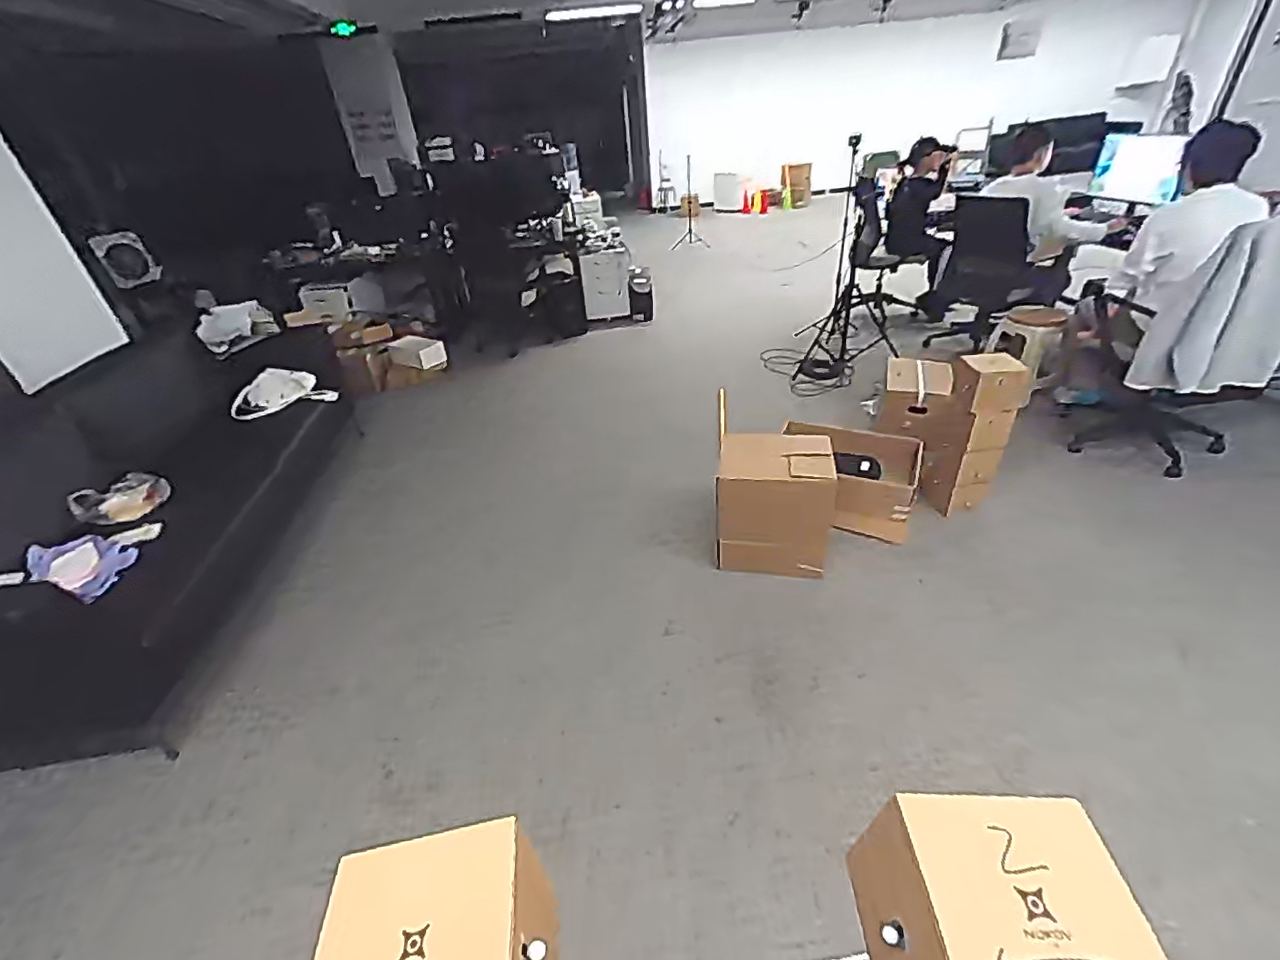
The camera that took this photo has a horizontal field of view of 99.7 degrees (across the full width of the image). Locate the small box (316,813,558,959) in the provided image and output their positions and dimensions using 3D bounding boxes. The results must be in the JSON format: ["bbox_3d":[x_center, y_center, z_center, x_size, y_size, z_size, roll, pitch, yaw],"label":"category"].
[{"bbox_3d":[-0.171,0.441,0.482,0.168,0.176,0.179,-11,35,-3],"label":"small box"}]
